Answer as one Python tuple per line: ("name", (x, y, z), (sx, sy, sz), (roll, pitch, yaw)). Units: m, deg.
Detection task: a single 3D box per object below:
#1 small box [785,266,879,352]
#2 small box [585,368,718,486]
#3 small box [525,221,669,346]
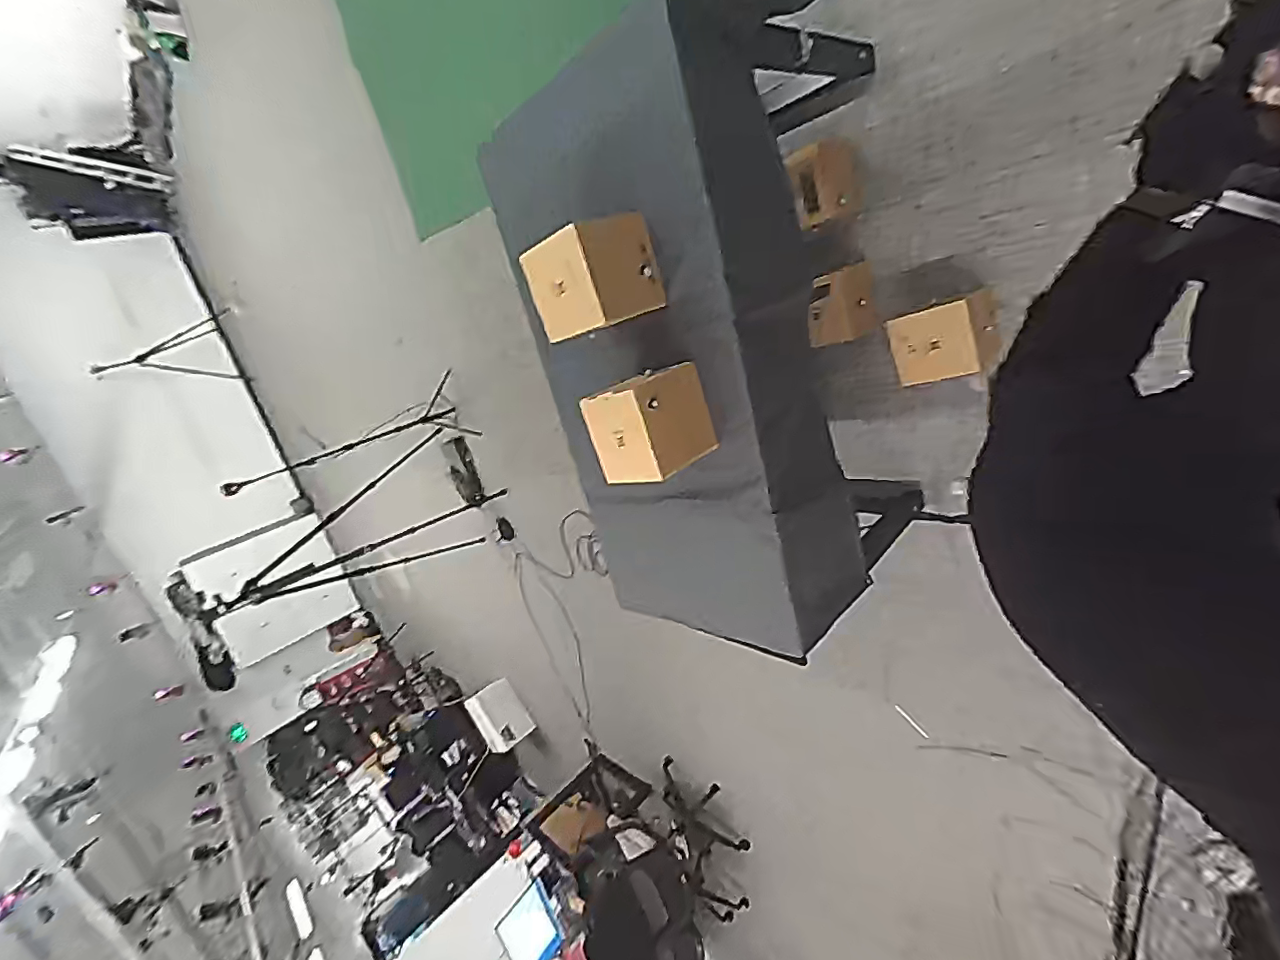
("small box", (0.518, -0.462, 1.453), (0.168, 0.176, 0.179), (2, 116, 48))
("small box", (0.027, -0.101, 1.053), (0.168, 0.176, 0.179), (-2, 111, 50))
("small box", (-0.076, -0.359, 0.998), (0.179, 0.176, 0.168), (0, 115, 49))
